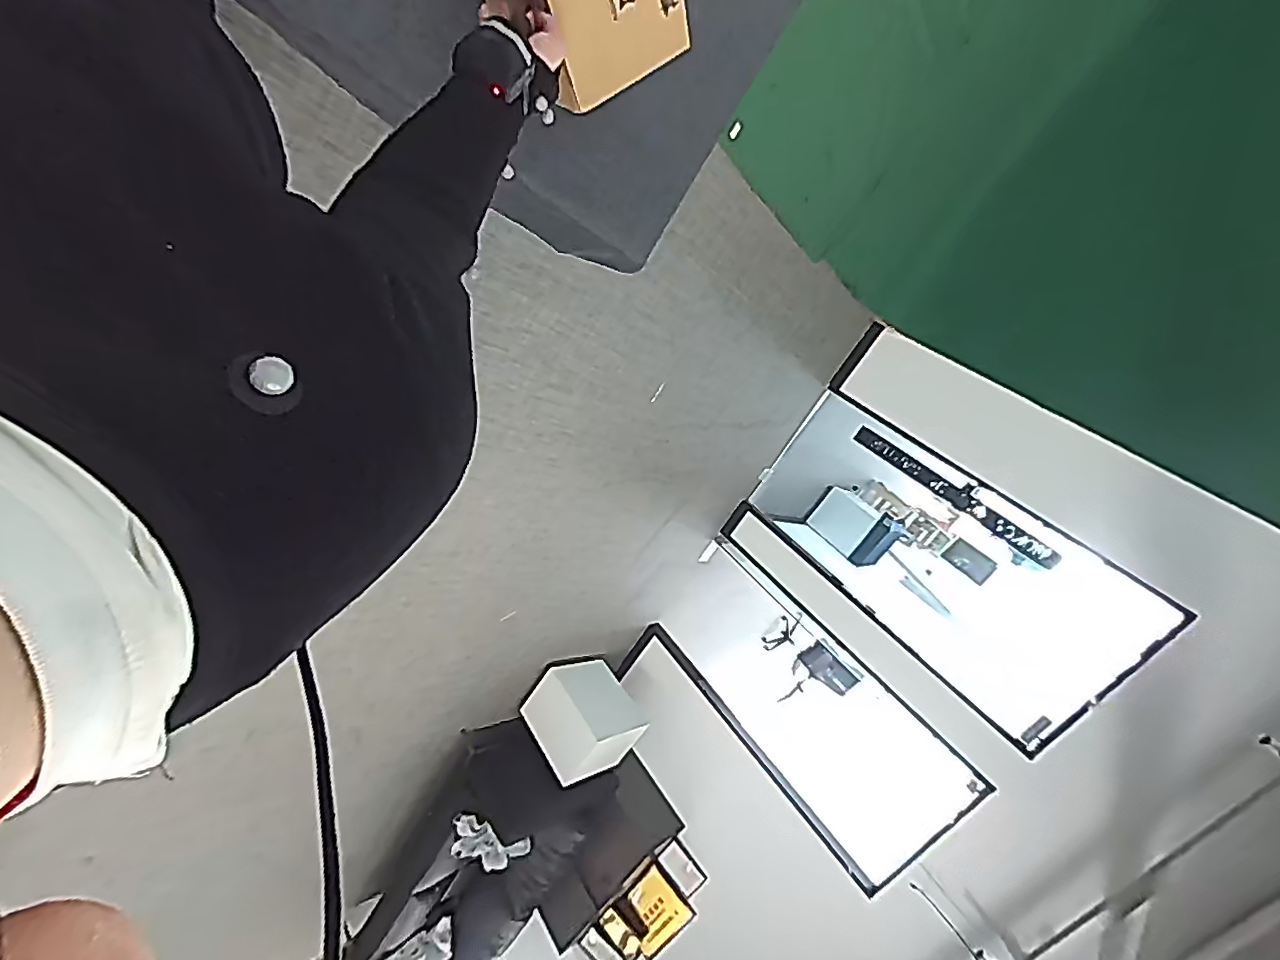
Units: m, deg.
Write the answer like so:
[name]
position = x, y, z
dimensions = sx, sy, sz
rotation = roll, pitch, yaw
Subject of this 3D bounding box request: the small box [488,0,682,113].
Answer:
[small box]
position = -0.078, -0.582, 0.647
dimensions = 0.179, 0.176, 0.168
rotation = -36, 146, -10
